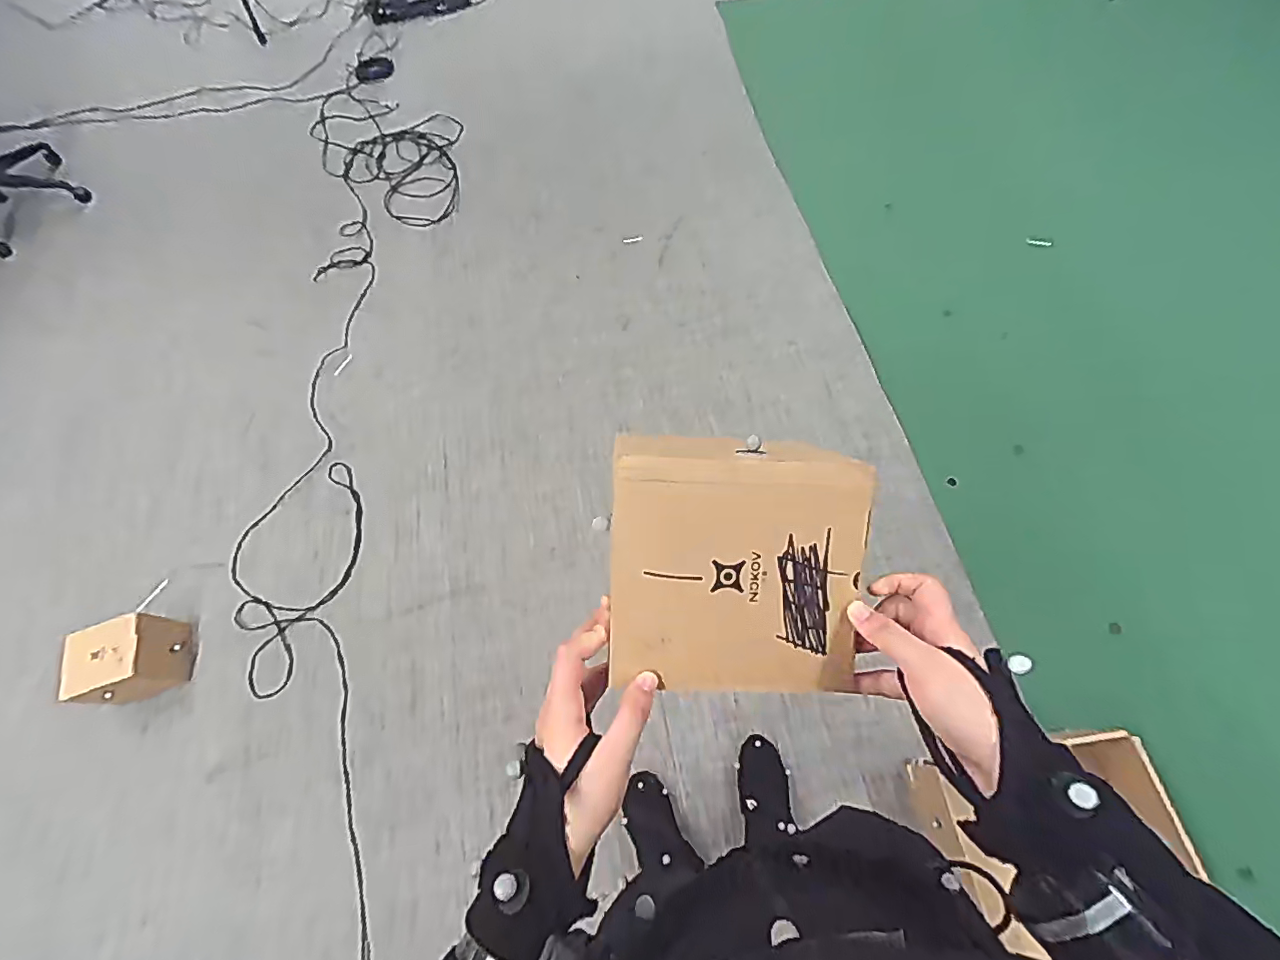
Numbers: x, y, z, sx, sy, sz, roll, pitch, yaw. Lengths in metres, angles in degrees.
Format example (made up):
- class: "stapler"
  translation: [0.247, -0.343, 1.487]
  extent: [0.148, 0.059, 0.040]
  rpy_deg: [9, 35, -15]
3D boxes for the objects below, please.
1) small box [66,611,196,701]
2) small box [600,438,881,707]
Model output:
- class: "small box"
  translation: [-1.298, 0.458, 1.390]
  extent: [0.179, 0.176, 0.168]
  rpy_deg: [-20, 66, -4]
- class: "small box"
  translation: [0.061, 0.058, 0.432]
  extent: [0.179, 0.176, 0.168]
  rpy_deg: [2, 100, -2]
